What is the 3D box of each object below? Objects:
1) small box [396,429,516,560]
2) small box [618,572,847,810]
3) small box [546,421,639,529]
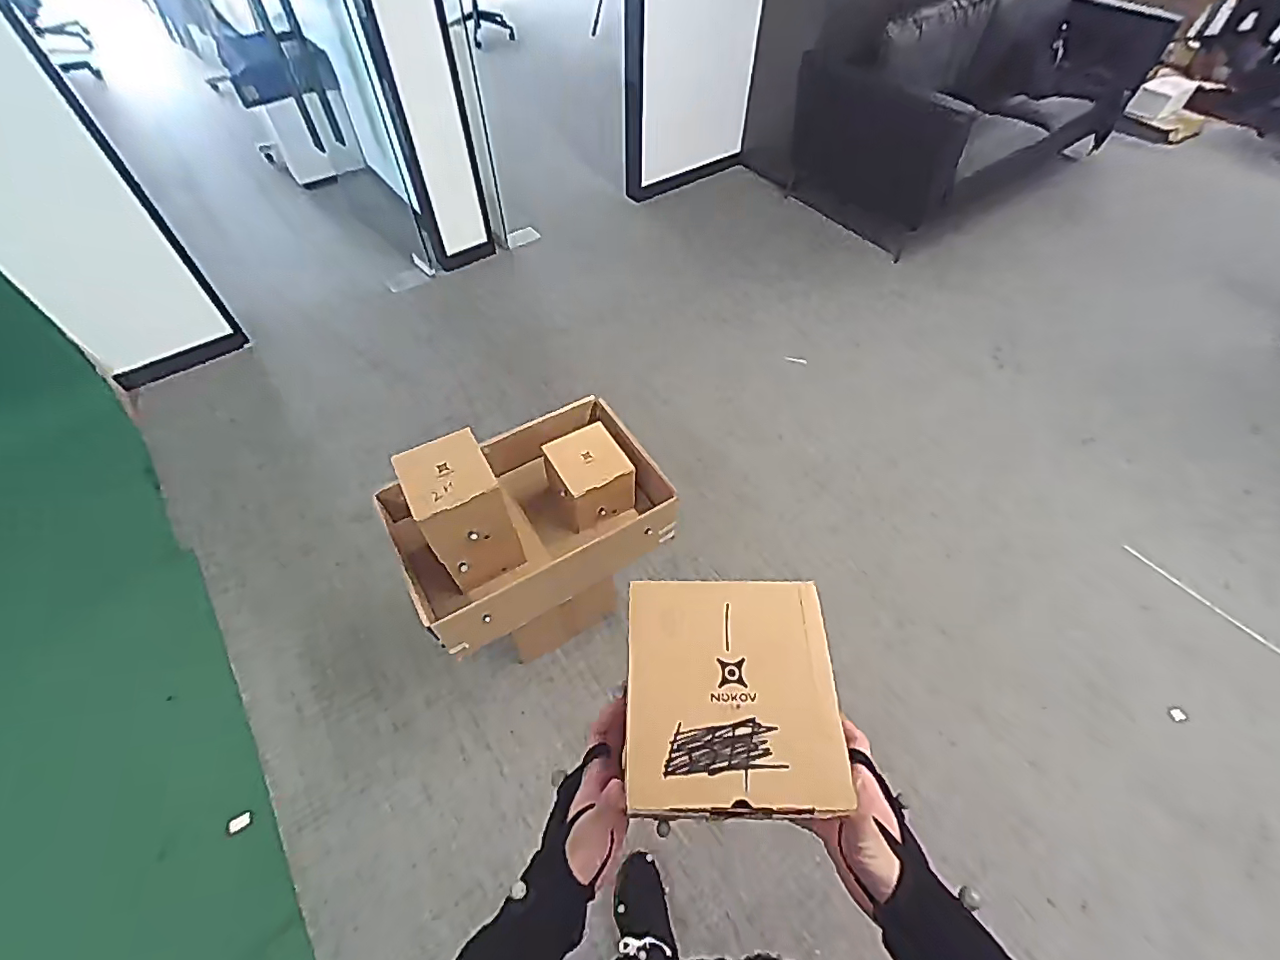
[{"bbox_3d":[-0.374,0.032,1.120,0.168,0.176,0.179,-26,59,-16],"label":"small box"},{"bbox_3d":[0.070,0.198,0.494,0.168,0.176,0.179,0,56,1],"label":"small box"},{"bbox_3d":[-0.117,-0.010,1.354,0.168,0.176,0.179,-27,60,-18],"label":"small box"}]
